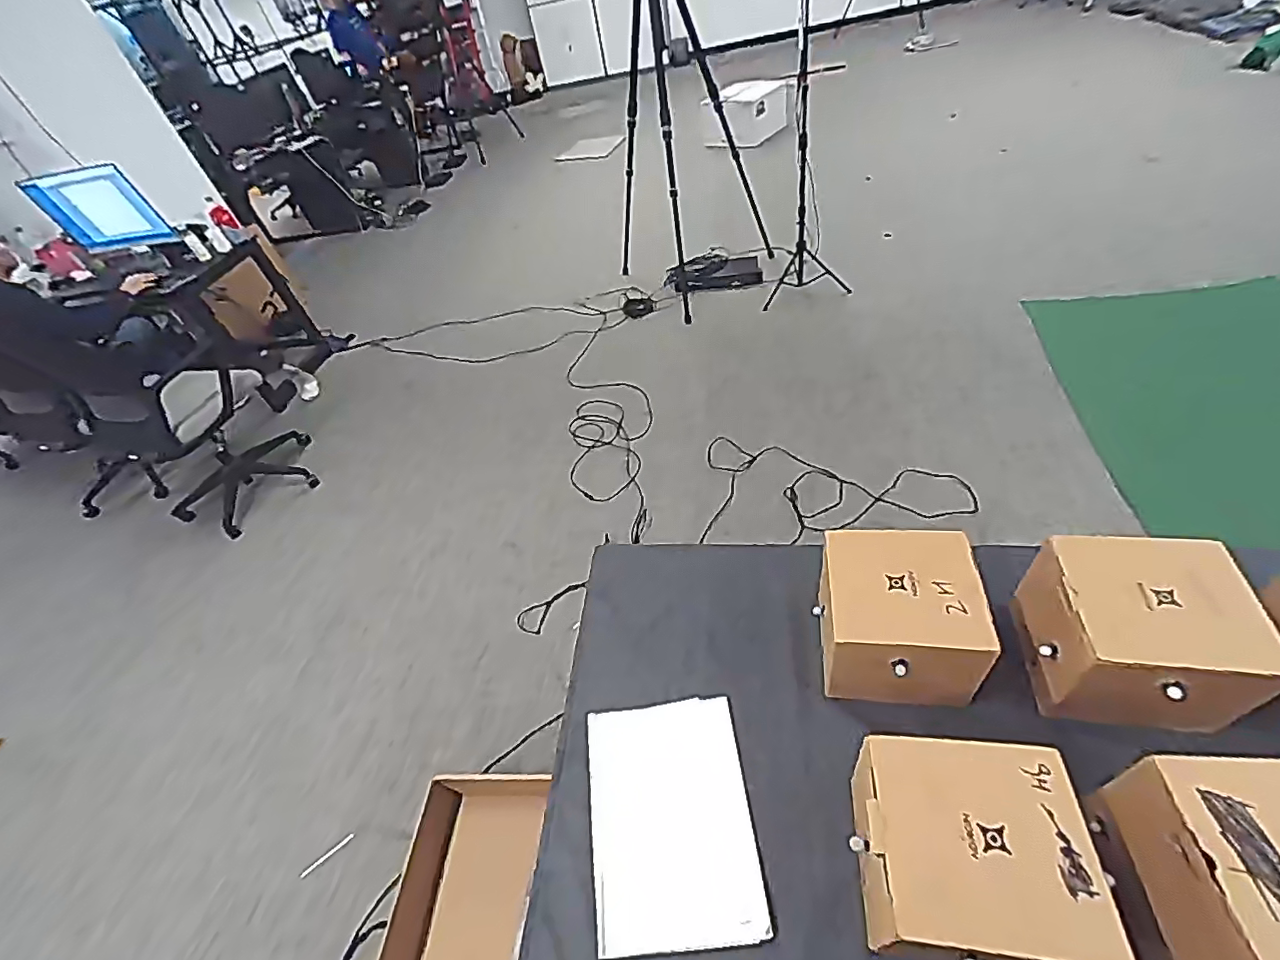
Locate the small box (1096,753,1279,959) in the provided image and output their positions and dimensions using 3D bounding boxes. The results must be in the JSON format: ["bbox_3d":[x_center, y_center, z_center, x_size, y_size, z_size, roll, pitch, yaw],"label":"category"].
[{"bbox_3d":[0.557,0.360,0.481,0.179,0.176,0.168,-3,46,10],"label":"small box"}]
